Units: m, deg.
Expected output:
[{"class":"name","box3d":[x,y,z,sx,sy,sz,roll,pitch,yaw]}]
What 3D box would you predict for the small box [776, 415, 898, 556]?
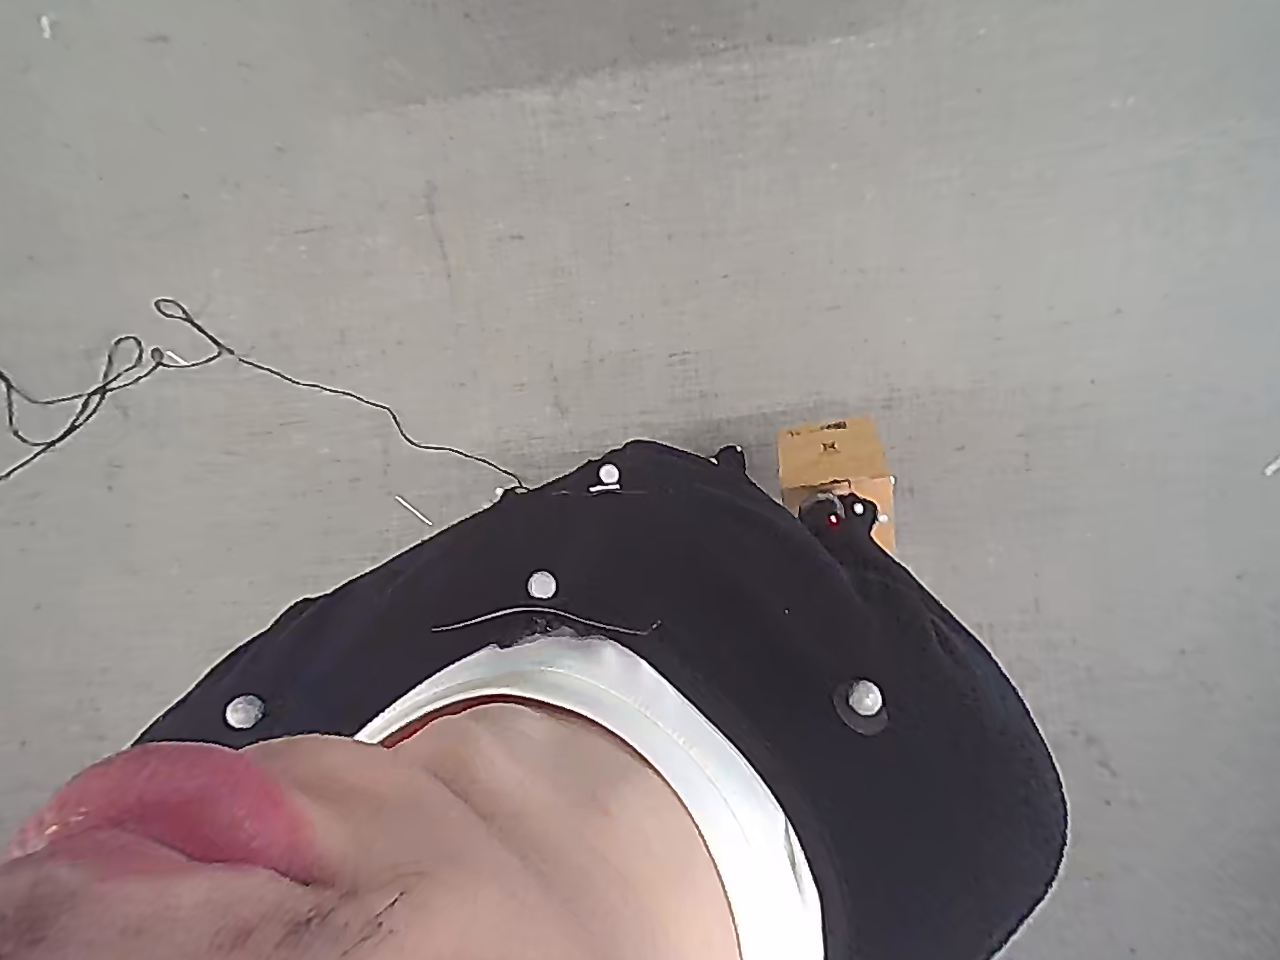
[{"class":"small box","box3d":[0.343,0.017,0.947,0.168,0.179,0.176,-12,126,18]}]
